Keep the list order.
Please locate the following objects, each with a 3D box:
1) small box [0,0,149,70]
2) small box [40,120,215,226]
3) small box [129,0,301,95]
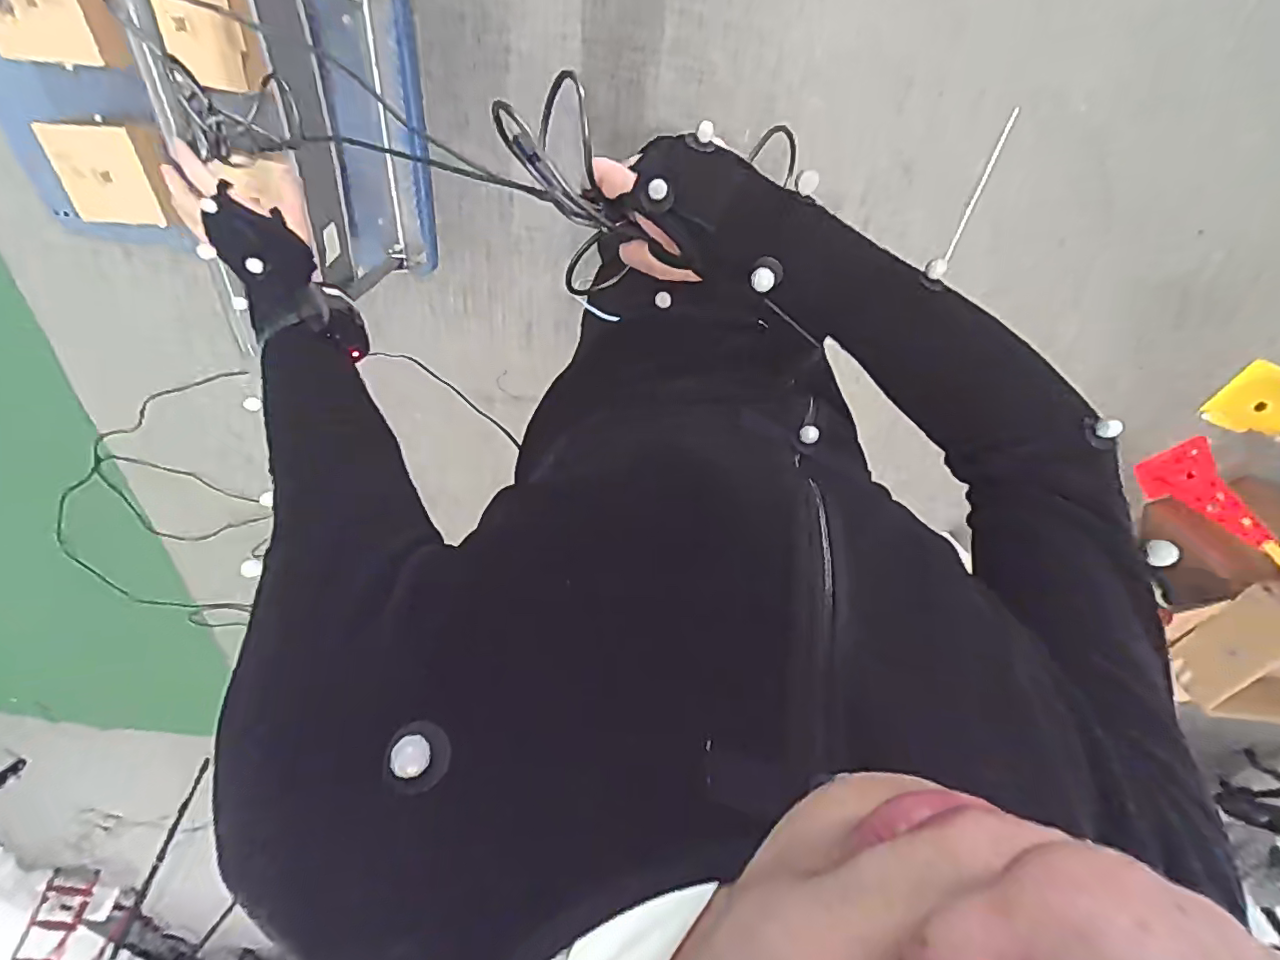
[{"bbox_3d":[-0.995,-0.832,0.950,0.179,0.176,0.168,4,128,-2],"label":"small box"},{"bbox_3d":[-1.023,-0.631,1.106,0.179,0.176,0.168,3,127,0],"label":"small box"},{"bbox_3d":[-0.751,-0.802,0.965,0.179,0.176,0.168,7,127,-4],"label":"small box"}]
